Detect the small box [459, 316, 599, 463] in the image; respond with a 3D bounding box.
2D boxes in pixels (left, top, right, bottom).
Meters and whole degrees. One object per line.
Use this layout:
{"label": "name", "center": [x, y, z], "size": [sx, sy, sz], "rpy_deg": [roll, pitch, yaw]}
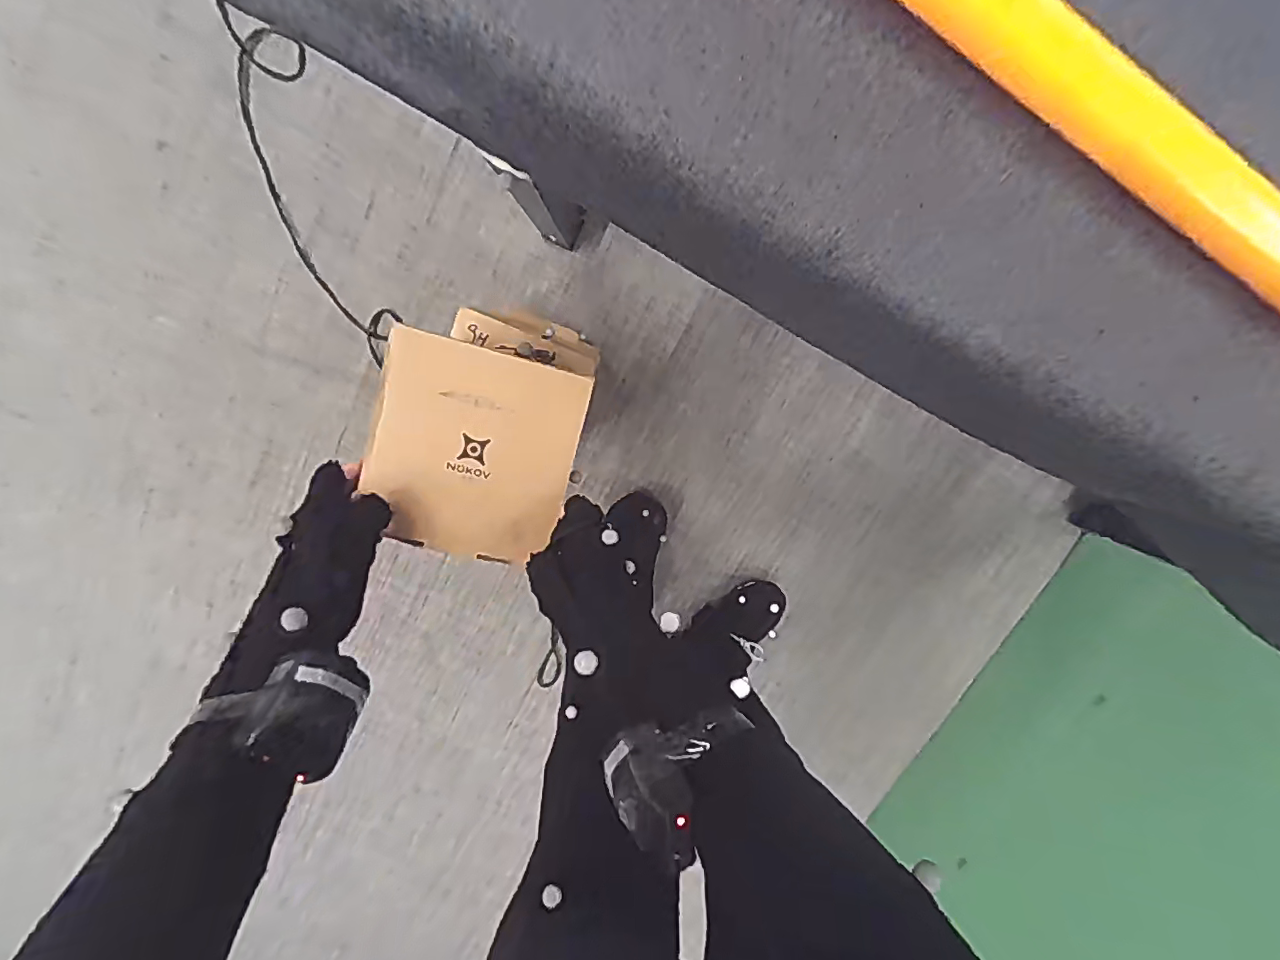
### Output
{"label": "small box", "center": [-0.169, -0.149, 0.869], "size": [0.168, 0.176, 0.179], "rpy_deg": [18, 104, -7]}
